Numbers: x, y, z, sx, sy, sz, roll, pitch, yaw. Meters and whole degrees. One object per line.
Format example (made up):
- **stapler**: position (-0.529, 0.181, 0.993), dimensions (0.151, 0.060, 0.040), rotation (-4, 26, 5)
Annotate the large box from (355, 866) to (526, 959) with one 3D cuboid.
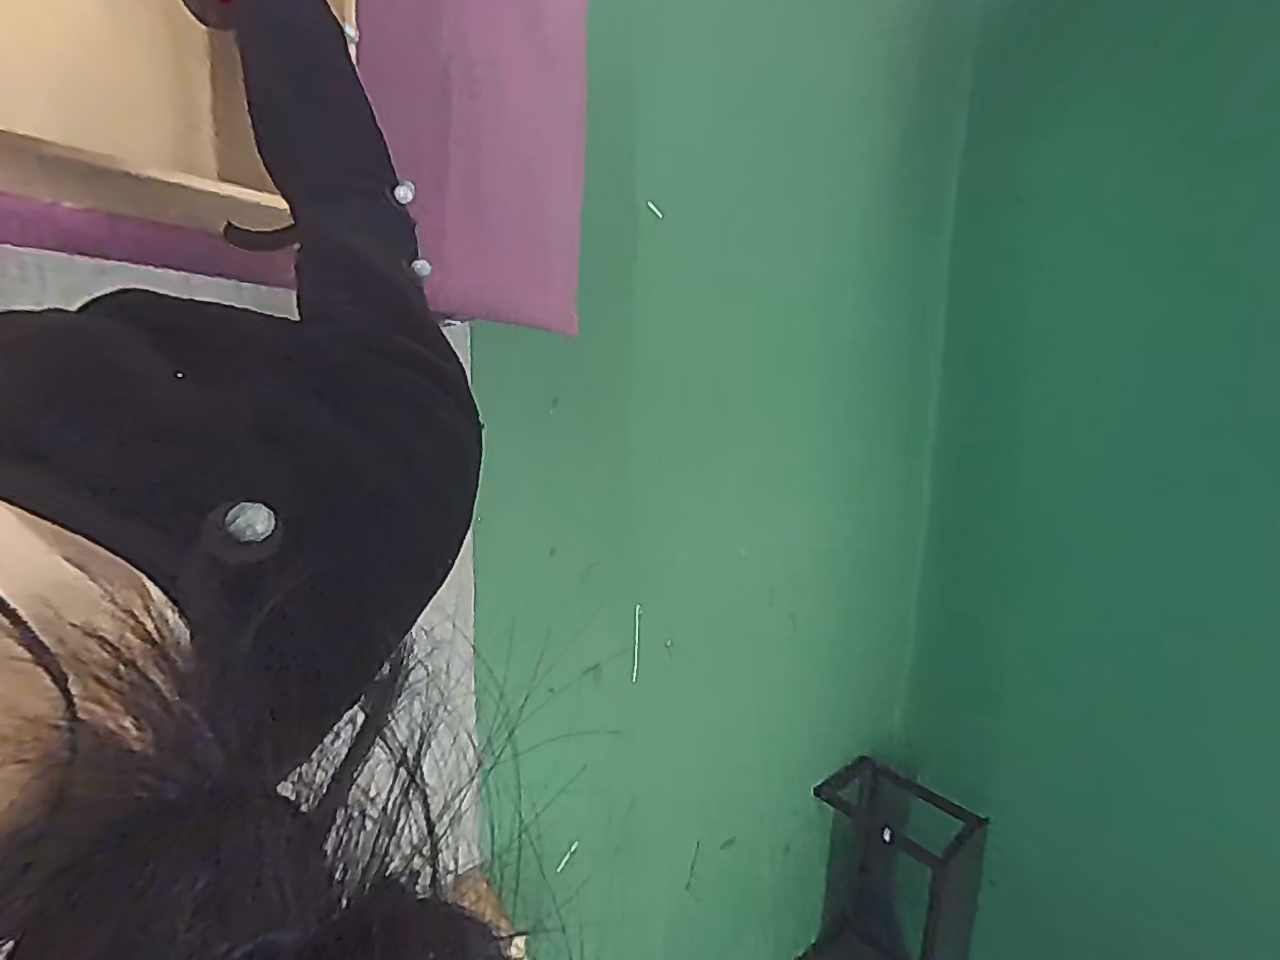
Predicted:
- **large box**: position (-0.575, 1.483, 1.592), dimensions (0.408, 0.320, 0.320), rotation (-23, 112, -37)
